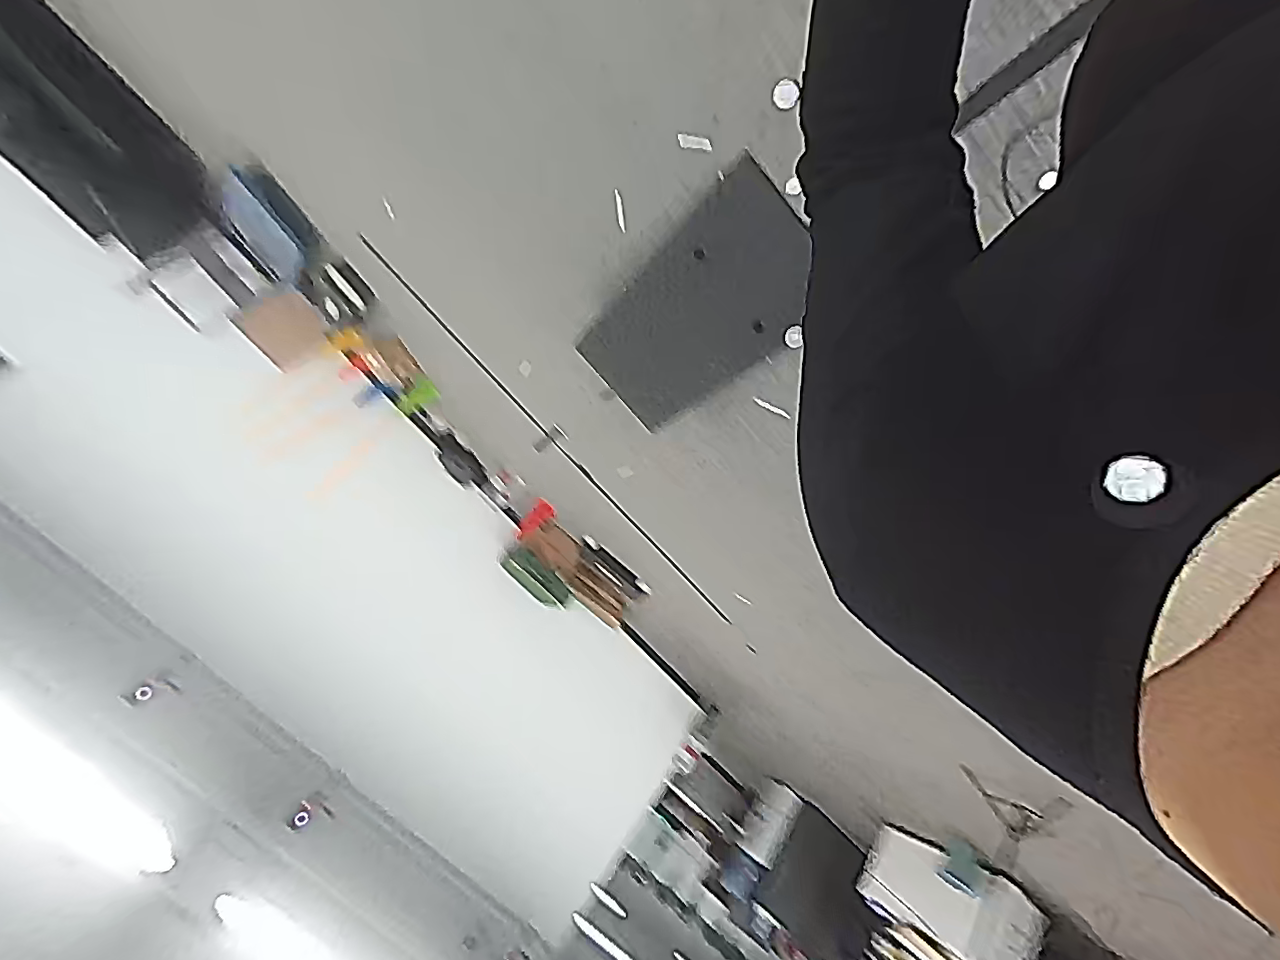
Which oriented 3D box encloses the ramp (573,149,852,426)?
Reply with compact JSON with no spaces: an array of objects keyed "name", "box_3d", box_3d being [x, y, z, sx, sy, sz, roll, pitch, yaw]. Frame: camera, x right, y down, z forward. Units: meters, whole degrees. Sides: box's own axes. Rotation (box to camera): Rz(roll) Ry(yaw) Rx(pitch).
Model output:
[{"name":"ramp","box_3d":[0.161,-0.550,1.832,0.509,0.206,0.991,48,153,-9]}]
